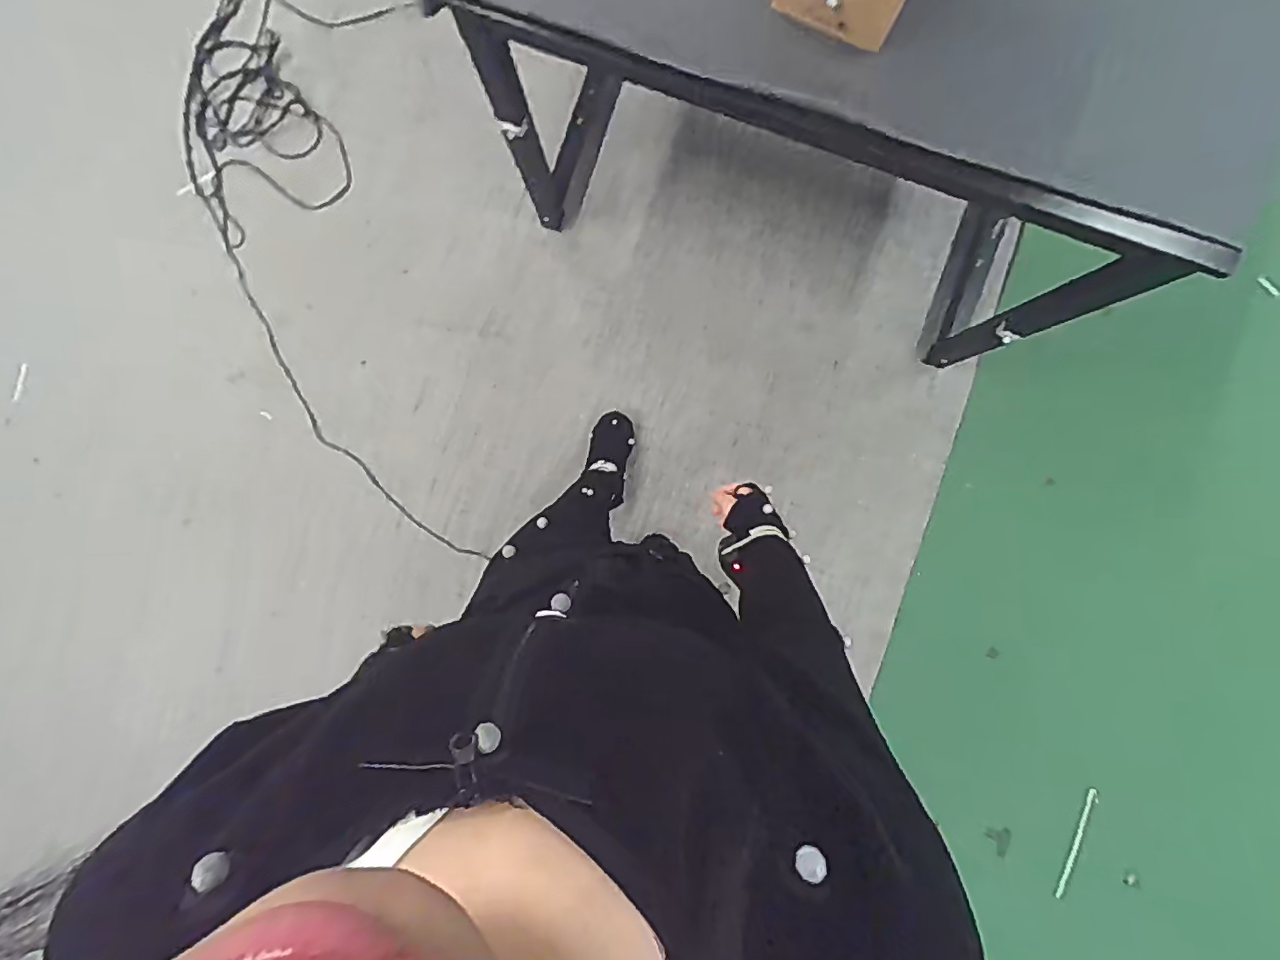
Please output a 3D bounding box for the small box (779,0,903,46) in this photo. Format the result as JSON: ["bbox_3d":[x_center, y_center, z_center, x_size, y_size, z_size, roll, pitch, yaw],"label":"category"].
[{"bbox_3d":[0.288,-0.708,0.670,0.168,0.176,0.179,24,89,1],"label":"small box"}]
